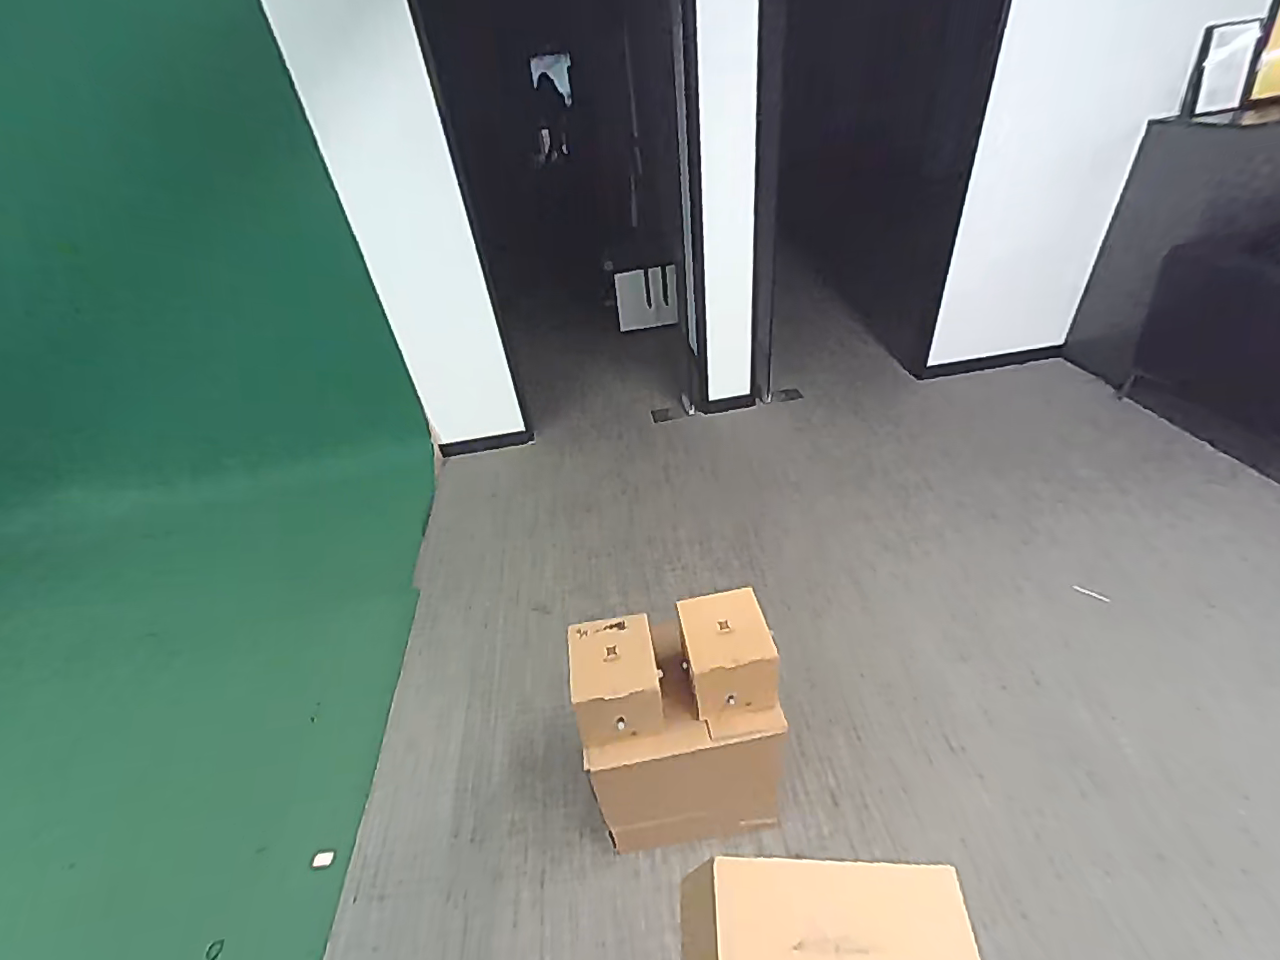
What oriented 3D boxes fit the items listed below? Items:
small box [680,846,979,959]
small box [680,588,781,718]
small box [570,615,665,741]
[{"bbox_3d":[0.118,0.368,0.367,0.168,0.176,0.179,4,49,-2],"label":"small box"},{"bbox_3d":[0.181,0.355,1.113,0.168,0.176,0.179,-11,37,-2],"label":"small box"},{"bbox_3d":[-0.045,0.404,1.091,0.168,0.176,0.179,-8,39,-3],"label":"small box"}]
